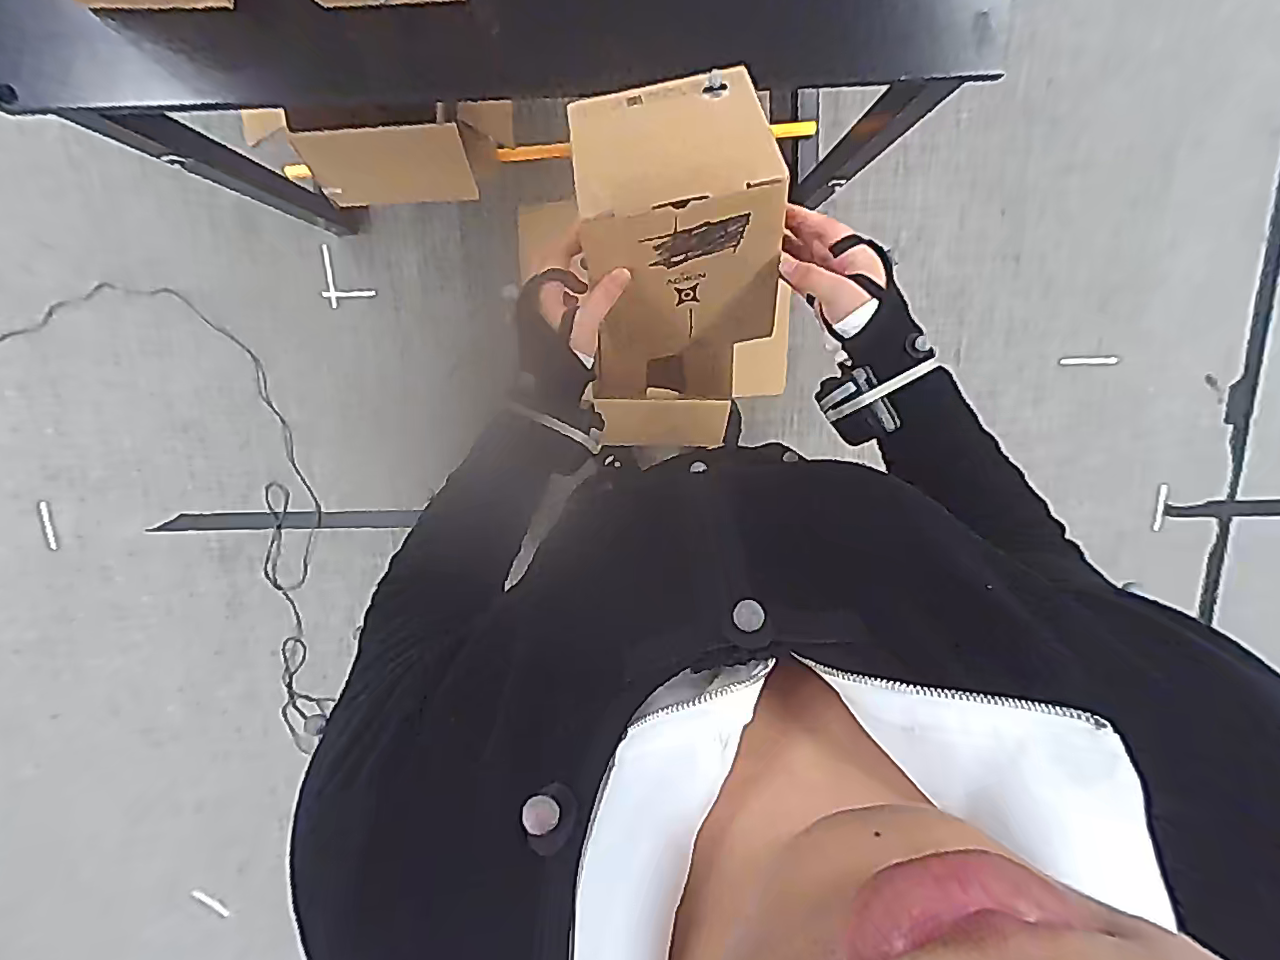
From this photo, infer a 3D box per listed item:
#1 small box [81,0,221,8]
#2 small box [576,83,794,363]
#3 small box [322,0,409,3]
[{"bbox_3d":[-0.550,-0.601,0.522,0.179,0.176,0.168,-1,103,-2],"label":"small box"},{"bbox_3d":[0.037,-0.244,0.519,0.168,0.179,0.176,-9,61,4],"label":"small box"},{"bbox_3d":[-0.286,-0.611,0.525,0.179,0.176,0.168,-4,102,-1],"label":"small box"}]
